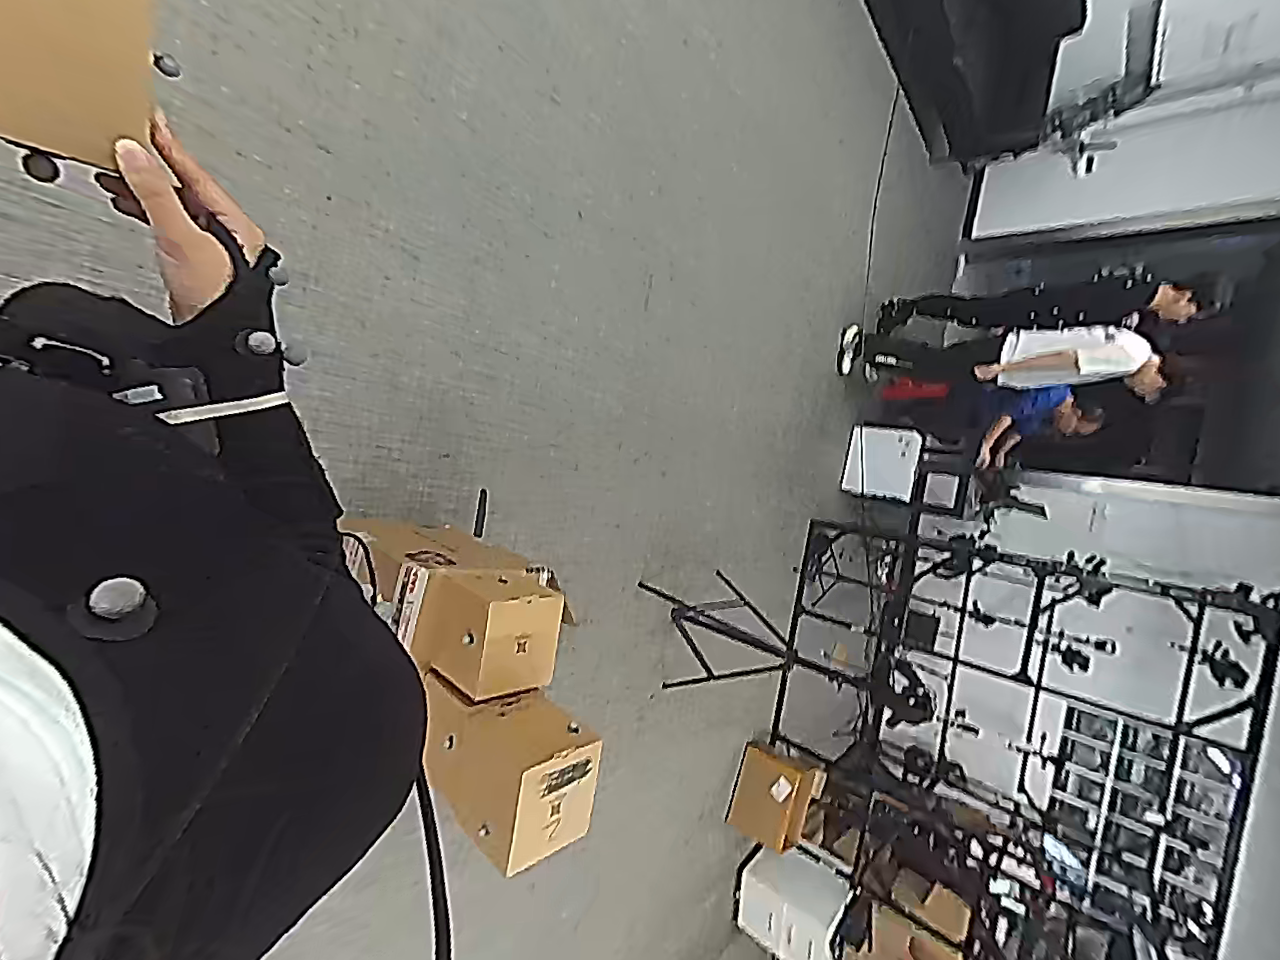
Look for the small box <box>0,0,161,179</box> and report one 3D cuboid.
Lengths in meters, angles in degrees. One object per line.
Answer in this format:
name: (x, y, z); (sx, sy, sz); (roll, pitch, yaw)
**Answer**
small box: (-0.385, -0.289, 0.296); (0.179, 0.176, 0.168); (3, 110, -45)
